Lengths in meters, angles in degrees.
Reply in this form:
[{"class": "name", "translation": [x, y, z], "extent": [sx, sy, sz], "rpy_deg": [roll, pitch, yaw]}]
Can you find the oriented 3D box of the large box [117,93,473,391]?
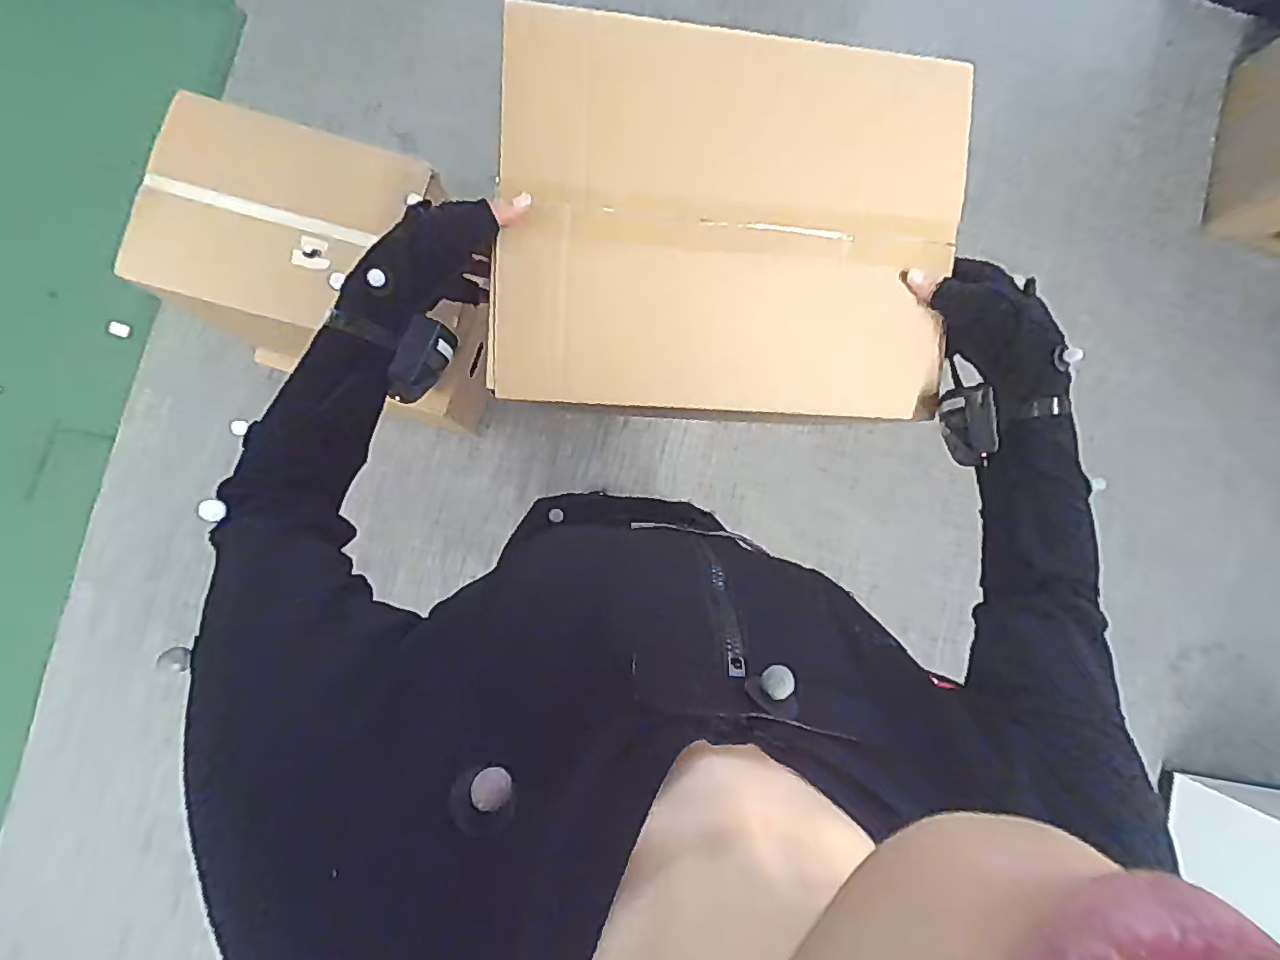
[{"class": "large box", "translation": [-0.567, -0.393, 0.982], "extent": [0.408, 0.320, 0.320], "rpy_deg": [15, 83, -5]}]
